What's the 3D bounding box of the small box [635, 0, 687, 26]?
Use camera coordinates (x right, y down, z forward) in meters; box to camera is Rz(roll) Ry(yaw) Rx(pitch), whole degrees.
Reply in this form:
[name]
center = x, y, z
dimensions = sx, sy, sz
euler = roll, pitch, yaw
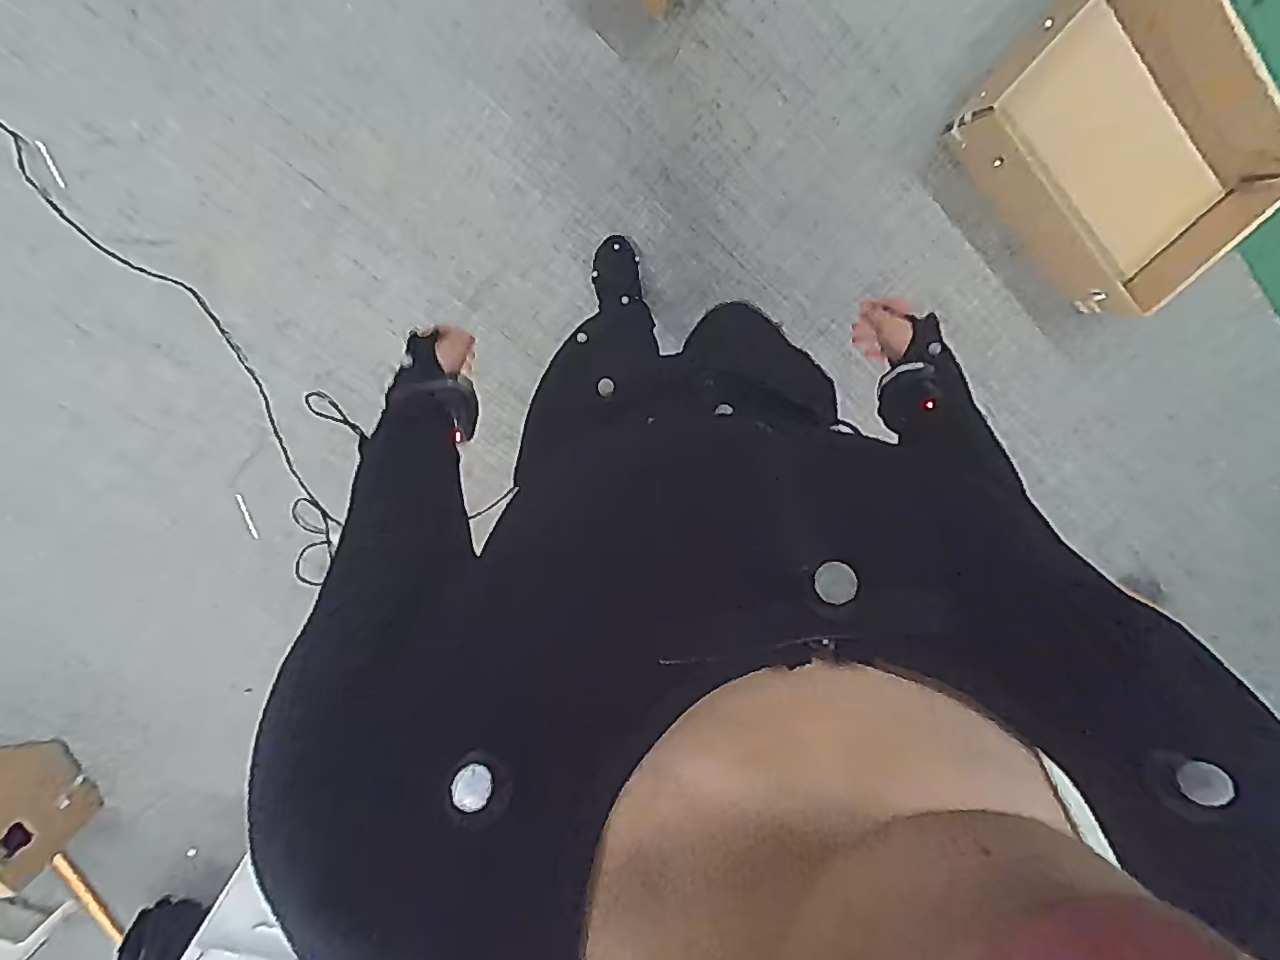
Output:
[small box]
center = 0.039, -1.014, 1.014
dimensions = 0.179, 0.176, 0.168
euler = 36, 108, -17
